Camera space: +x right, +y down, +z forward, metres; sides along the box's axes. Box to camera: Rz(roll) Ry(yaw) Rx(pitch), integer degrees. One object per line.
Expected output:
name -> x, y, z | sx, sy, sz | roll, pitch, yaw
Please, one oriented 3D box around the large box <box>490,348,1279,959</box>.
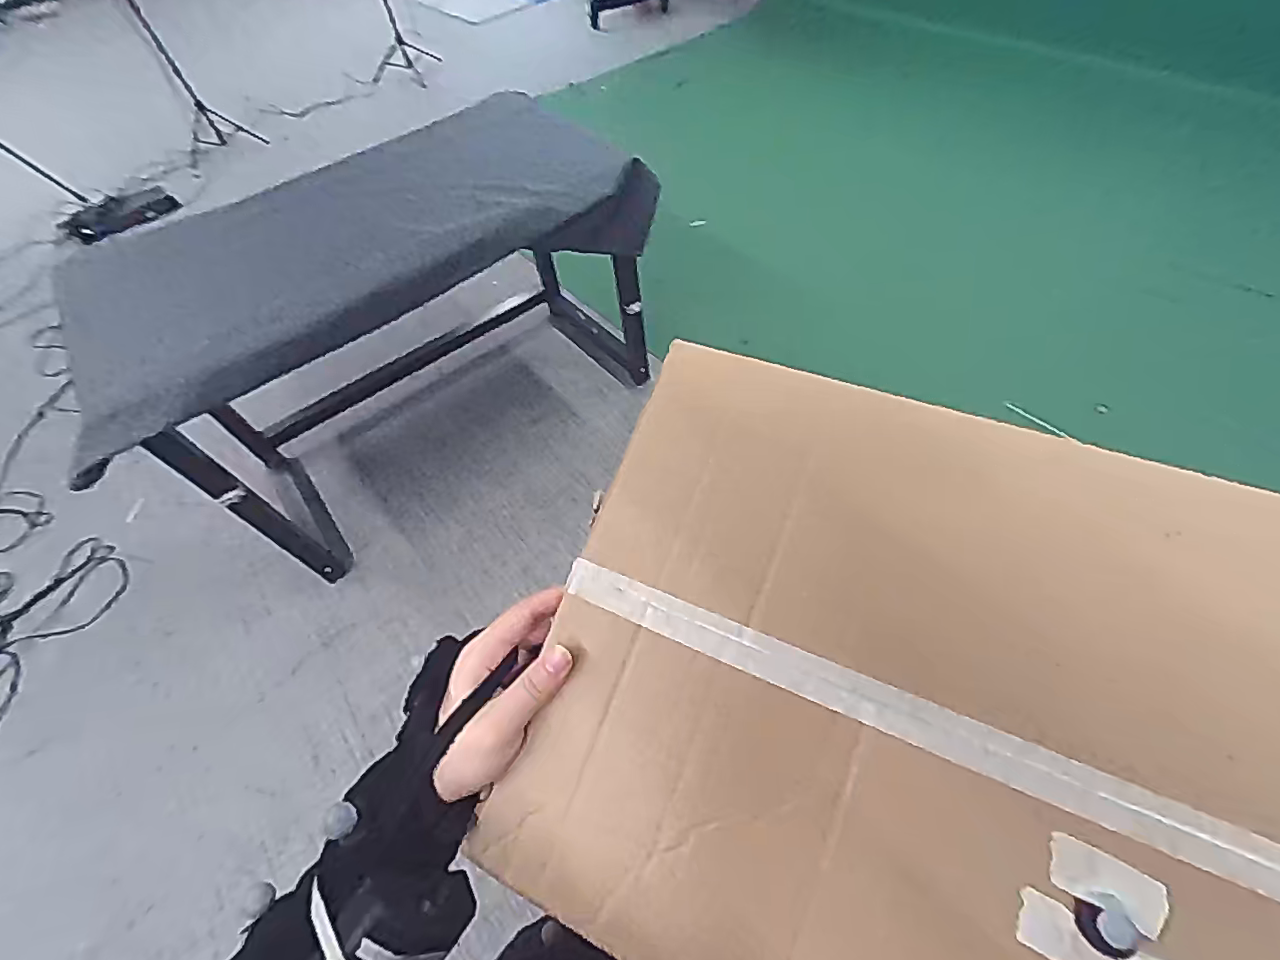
large box -> 0.177, 0.149, 0.410 | 0.408, 0.320, 0.320 | 19, 80, 16
